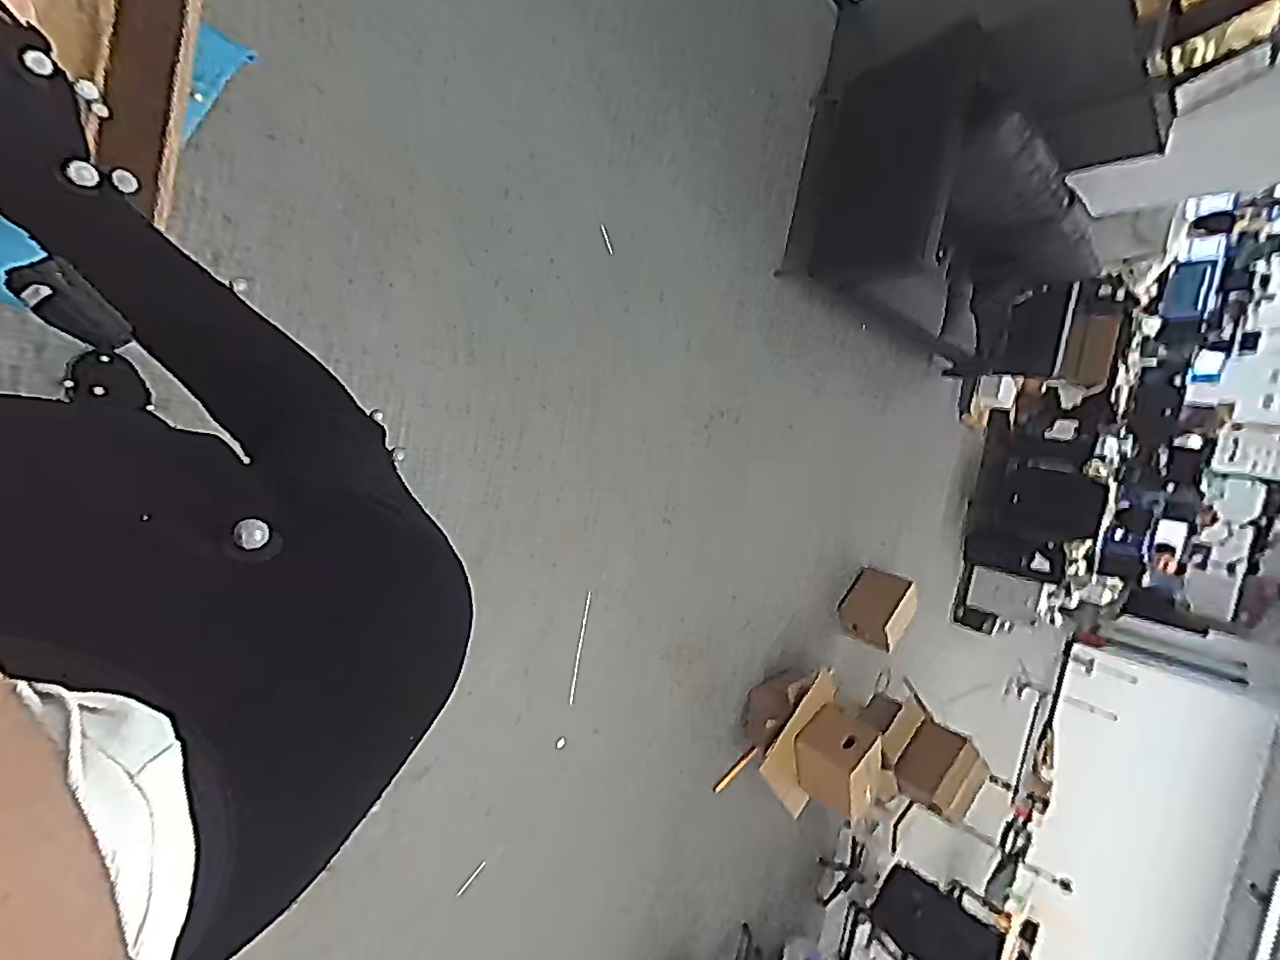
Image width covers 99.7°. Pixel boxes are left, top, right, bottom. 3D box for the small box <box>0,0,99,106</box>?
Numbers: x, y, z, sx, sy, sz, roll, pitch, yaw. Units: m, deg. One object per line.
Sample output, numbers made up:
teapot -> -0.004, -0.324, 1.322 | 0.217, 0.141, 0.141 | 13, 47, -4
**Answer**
small box -> -0.568, -0.442, 0.426 | 0.179, 0.176, 0.168 | 8, 94, -40
